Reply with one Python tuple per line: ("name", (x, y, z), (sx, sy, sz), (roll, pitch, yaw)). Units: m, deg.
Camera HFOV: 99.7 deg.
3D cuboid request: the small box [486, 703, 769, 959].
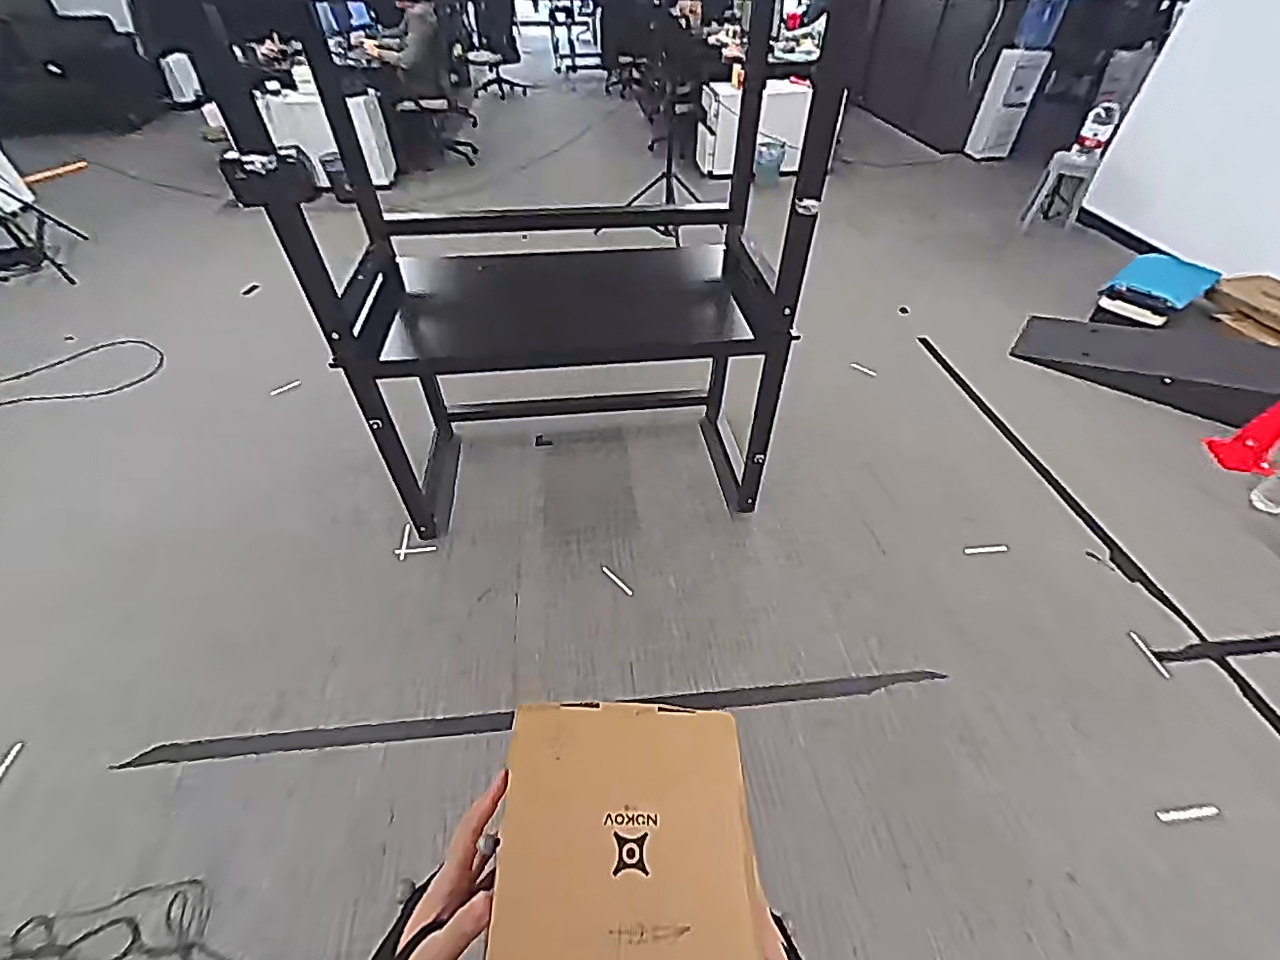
("small box", (-0.020, 0.287, 0.404), (0.168, 0.176, 0.179), (7, 49, -10))
